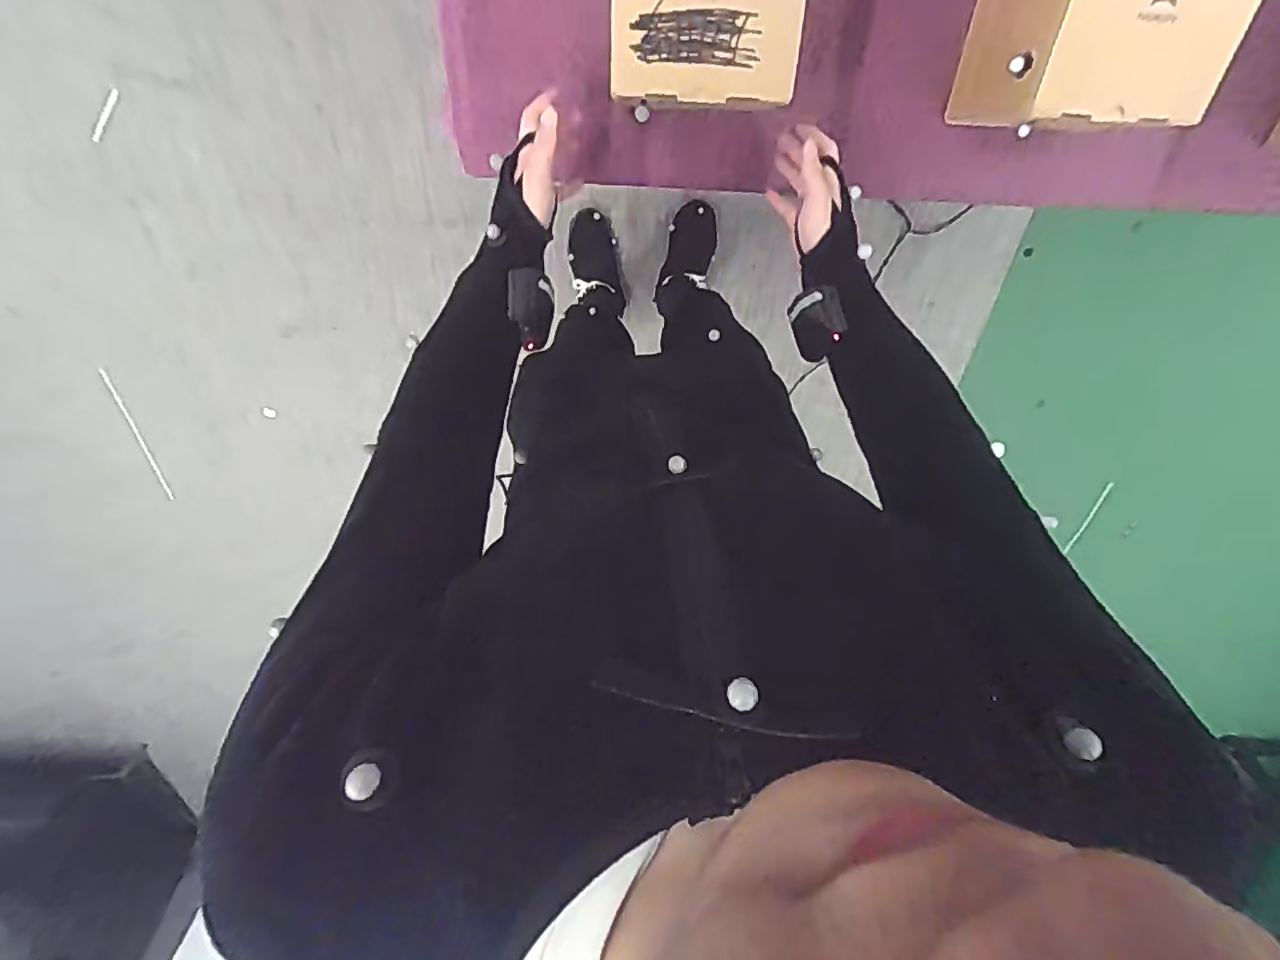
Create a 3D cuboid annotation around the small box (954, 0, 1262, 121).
[{"bbox_3d":[0.438,-0.453,0.516,0.168,0.176,0.179,2,124,-1],"label":"small box"}]
